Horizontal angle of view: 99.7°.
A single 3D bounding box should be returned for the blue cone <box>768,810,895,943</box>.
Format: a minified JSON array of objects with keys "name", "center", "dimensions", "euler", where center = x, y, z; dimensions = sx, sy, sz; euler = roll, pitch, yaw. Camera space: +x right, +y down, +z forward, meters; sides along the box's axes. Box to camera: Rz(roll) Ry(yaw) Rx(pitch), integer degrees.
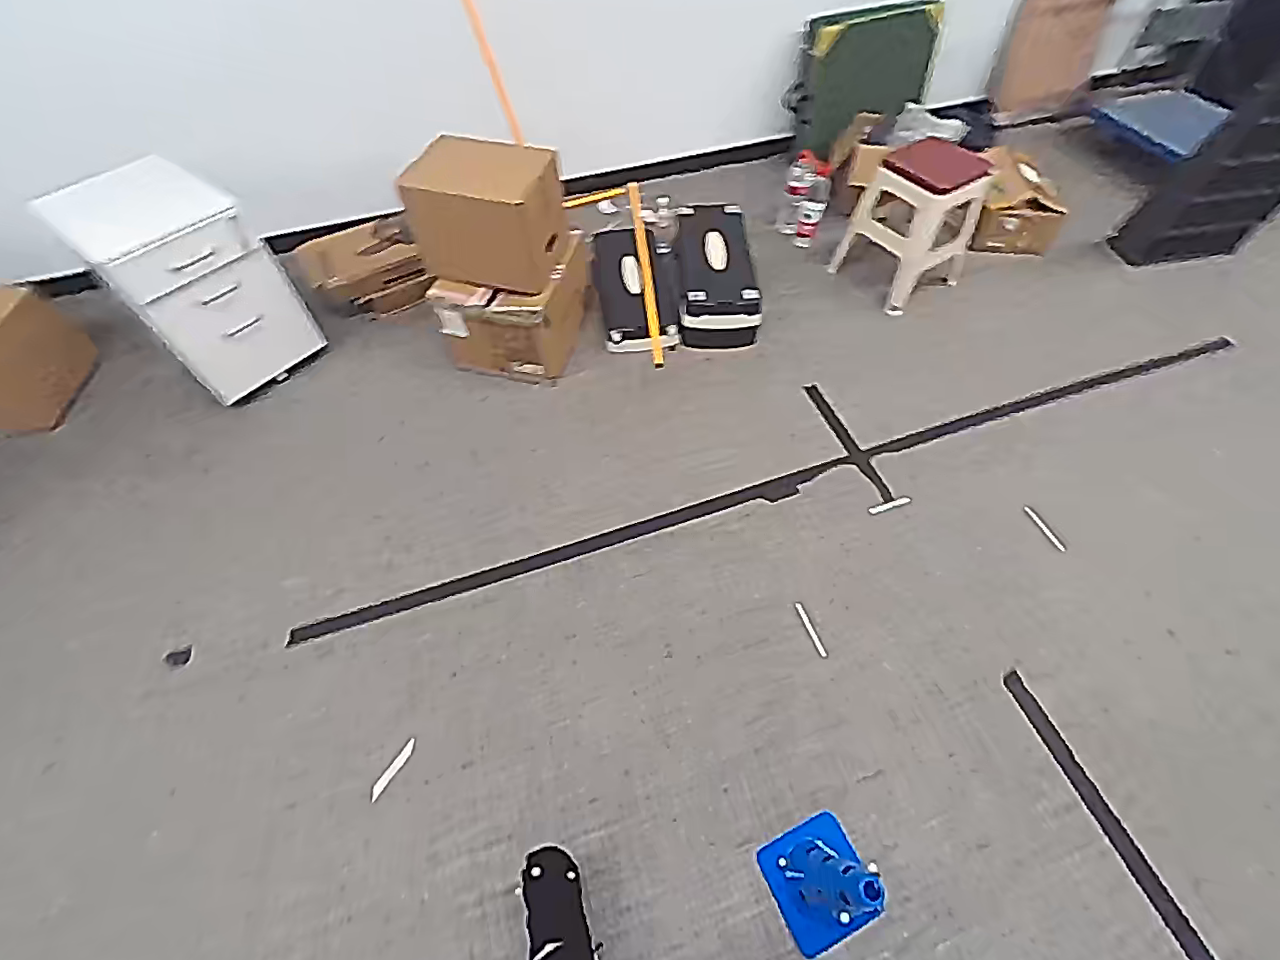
[{"name":"blue cone","center":[0.379,0.733,0.998],"dimensions":[0.192,0.380,0.193],"euler":[-21,57,-12]}]
